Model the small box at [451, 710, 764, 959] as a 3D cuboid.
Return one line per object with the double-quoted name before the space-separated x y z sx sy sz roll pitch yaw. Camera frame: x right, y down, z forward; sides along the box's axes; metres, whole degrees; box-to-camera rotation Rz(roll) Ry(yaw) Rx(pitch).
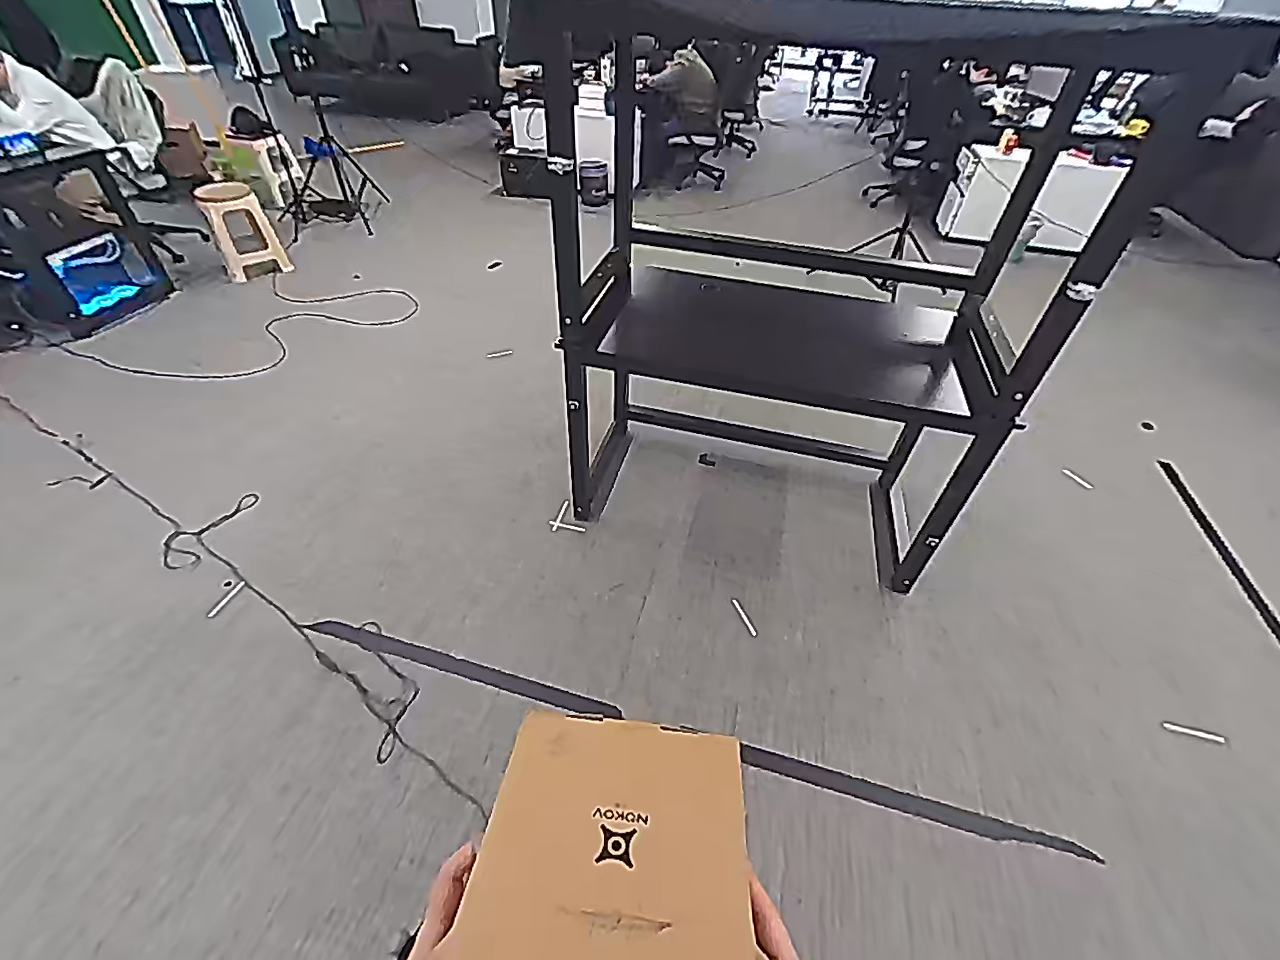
"small box" -0.016 0.295 0.373 0.168 0.176 0.179 5 27 2
